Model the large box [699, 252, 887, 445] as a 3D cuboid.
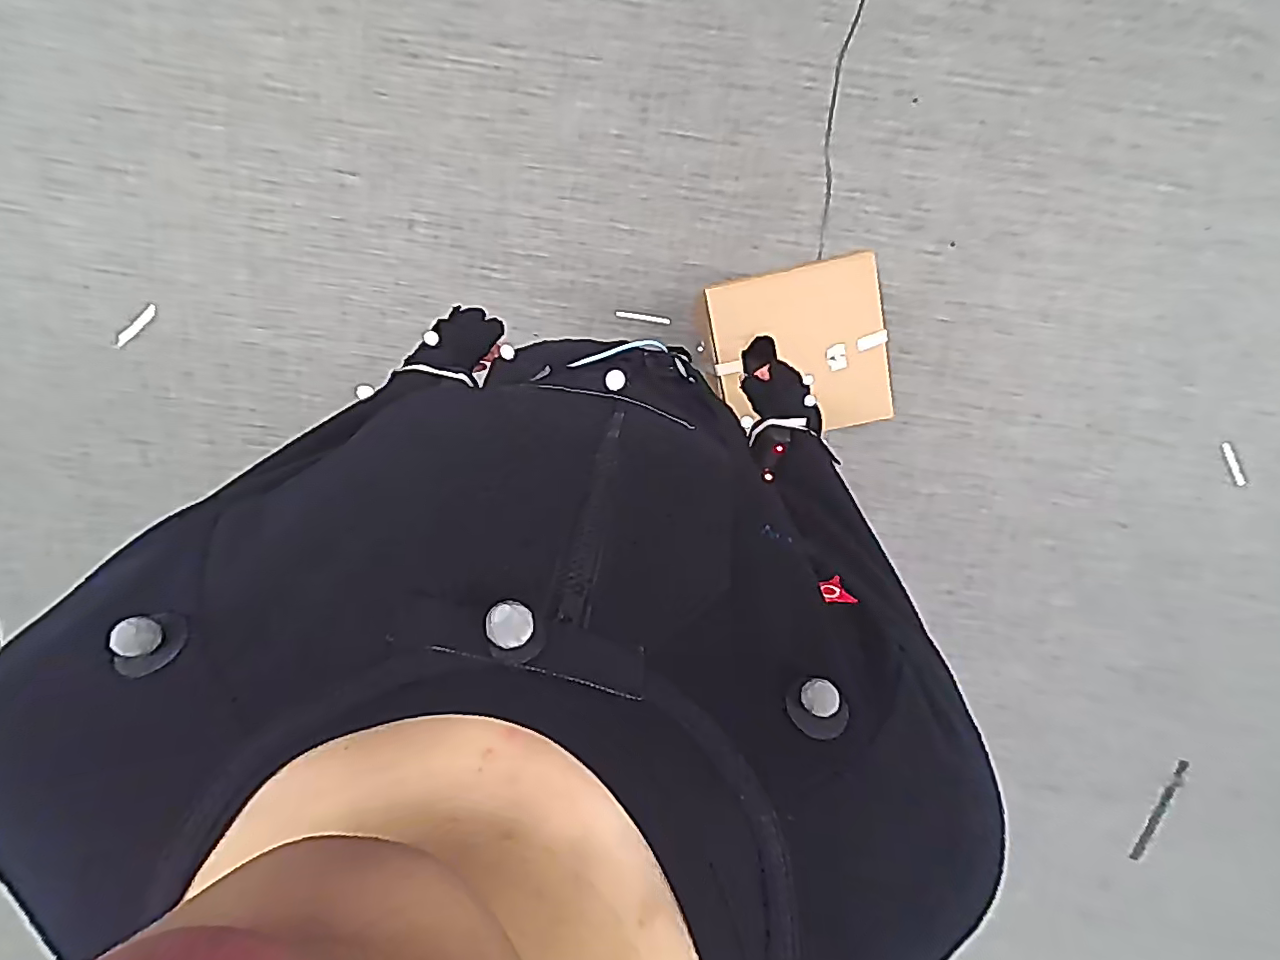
[{"bbox_3d":[0.315,-0.285,1.213,0.320,0.408,0.320,-10,103,7],"label":"large box"}]
